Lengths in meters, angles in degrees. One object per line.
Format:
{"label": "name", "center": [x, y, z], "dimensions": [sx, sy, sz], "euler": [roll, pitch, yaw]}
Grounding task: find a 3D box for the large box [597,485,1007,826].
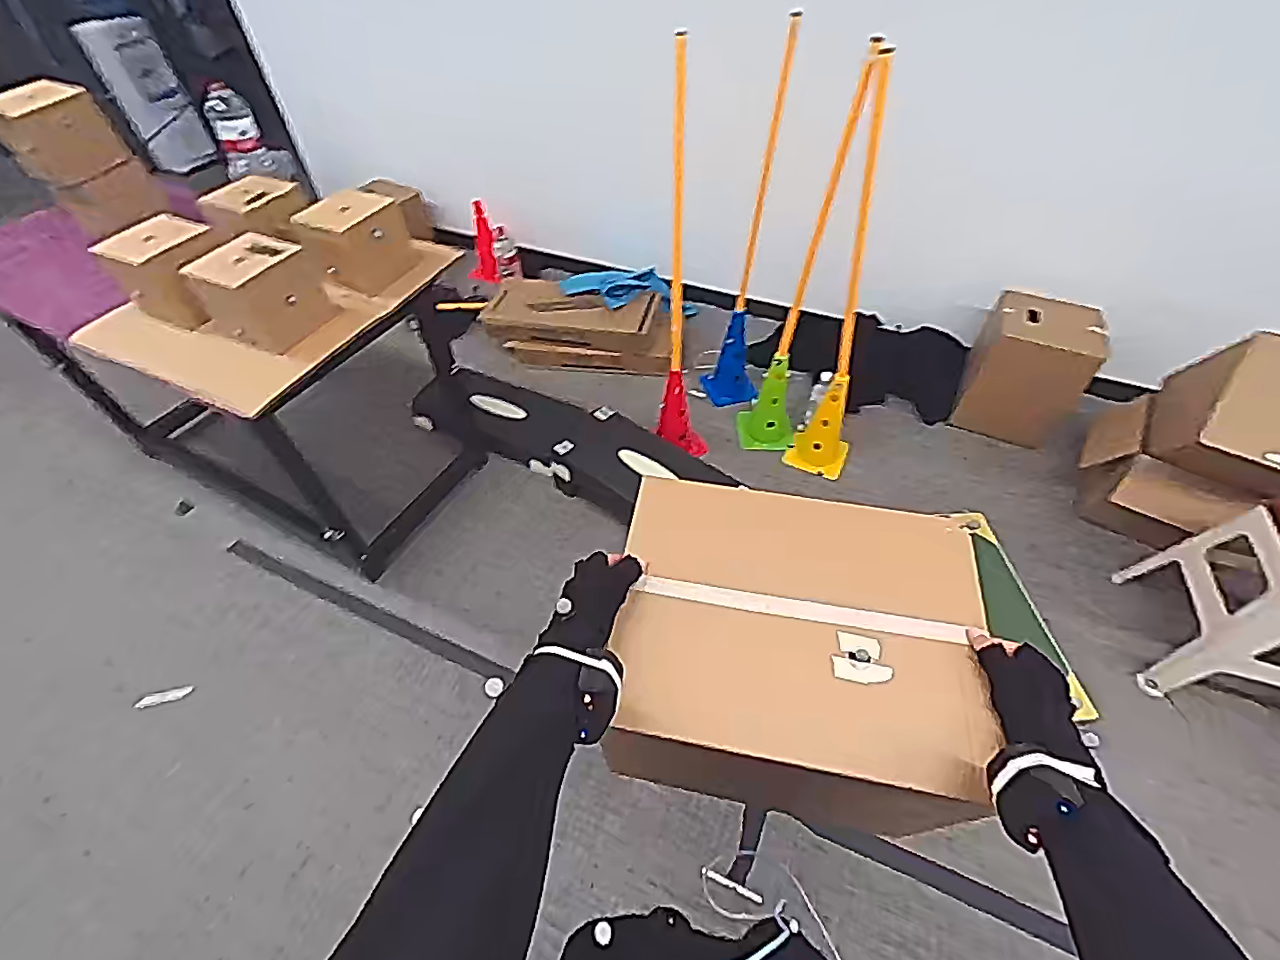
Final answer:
{"label": "large box", "center": [0.178, 0.239, 0.731], "dimensions": [0.408, 0.320, 0.320], "euler": [8, 55, 8]}
